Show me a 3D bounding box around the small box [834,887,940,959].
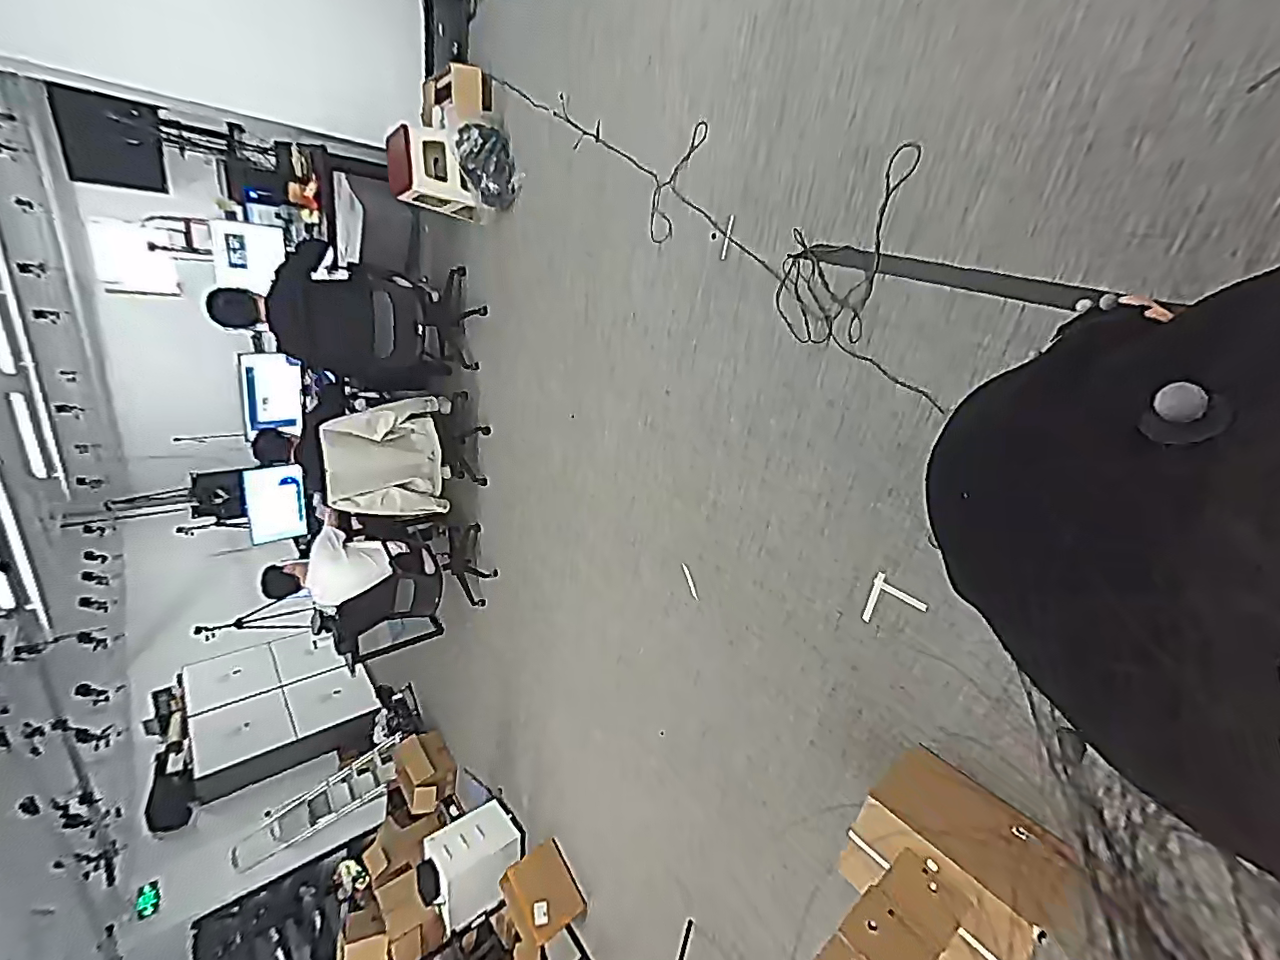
[{"bbox_3d":[0.524,1.051,1.178,0.168,0.176,0.179,29,120,44],"label":"small box"}]

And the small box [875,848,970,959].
[{"bbox_3d":[0.649,1.035,1.281,0.168,0.176,0.179,29,119,42],"label":"small box"}]

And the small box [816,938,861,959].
[{"bbox_3d":[0.402,1.079,1.072,0.168,0.176,0.179,24,115,46],"label":"small box"}]
